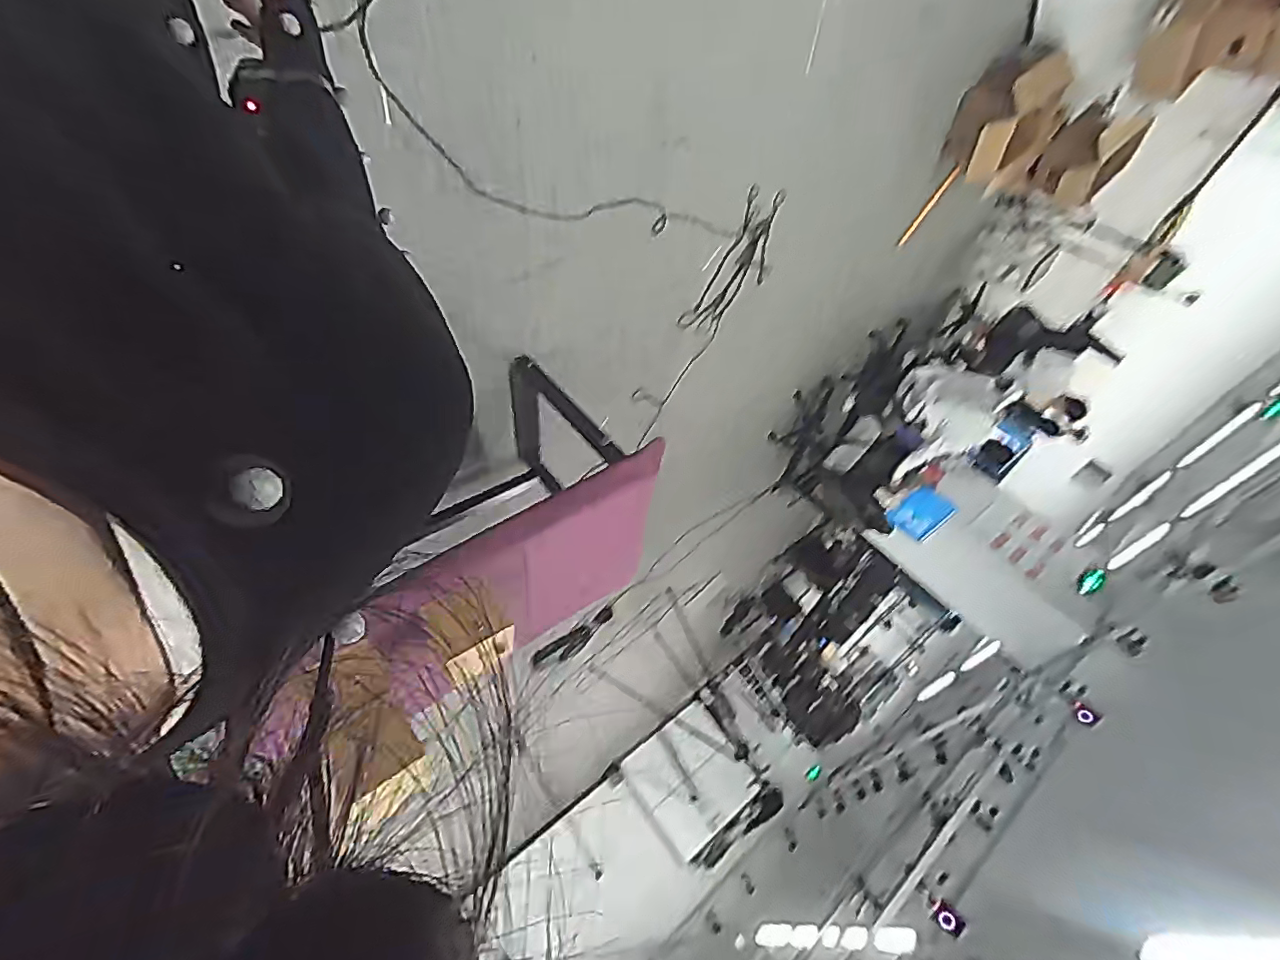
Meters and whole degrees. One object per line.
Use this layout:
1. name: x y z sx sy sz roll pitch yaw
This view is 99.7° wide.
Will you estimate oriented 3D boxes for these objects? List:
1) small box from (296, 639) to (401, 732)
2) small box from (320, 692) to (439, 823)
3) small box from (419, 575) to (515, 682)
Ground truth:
1. small box: -0.666 0.496 1.250 0.168 0.176 0.179 -25 148 -34
2. small box: -0.558 0.589 1.164 0.168 0.176 0.179 -27 148 -31
3. small box: -0.439 0.376 1.388 0.179 0.176 0.168 -26 149 -29
